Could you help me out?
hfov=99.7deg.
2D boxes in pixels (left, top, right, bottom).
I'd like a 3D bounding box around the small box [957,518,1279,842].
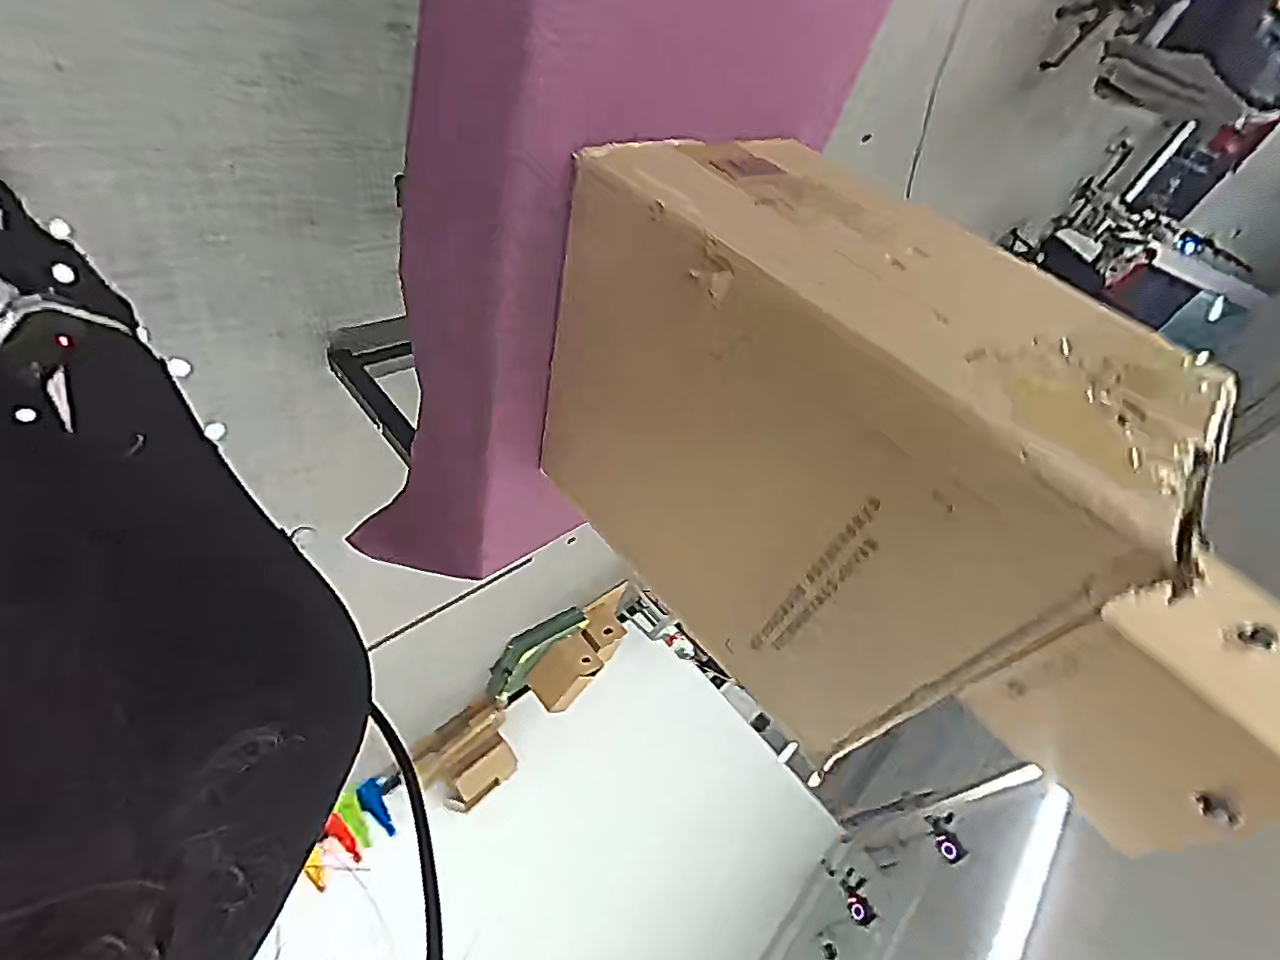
[{"bbox_3d":[0.424,0.163,0.470,0.179,0.176,0.168,-30,154,-36],"label":"small box"}]
